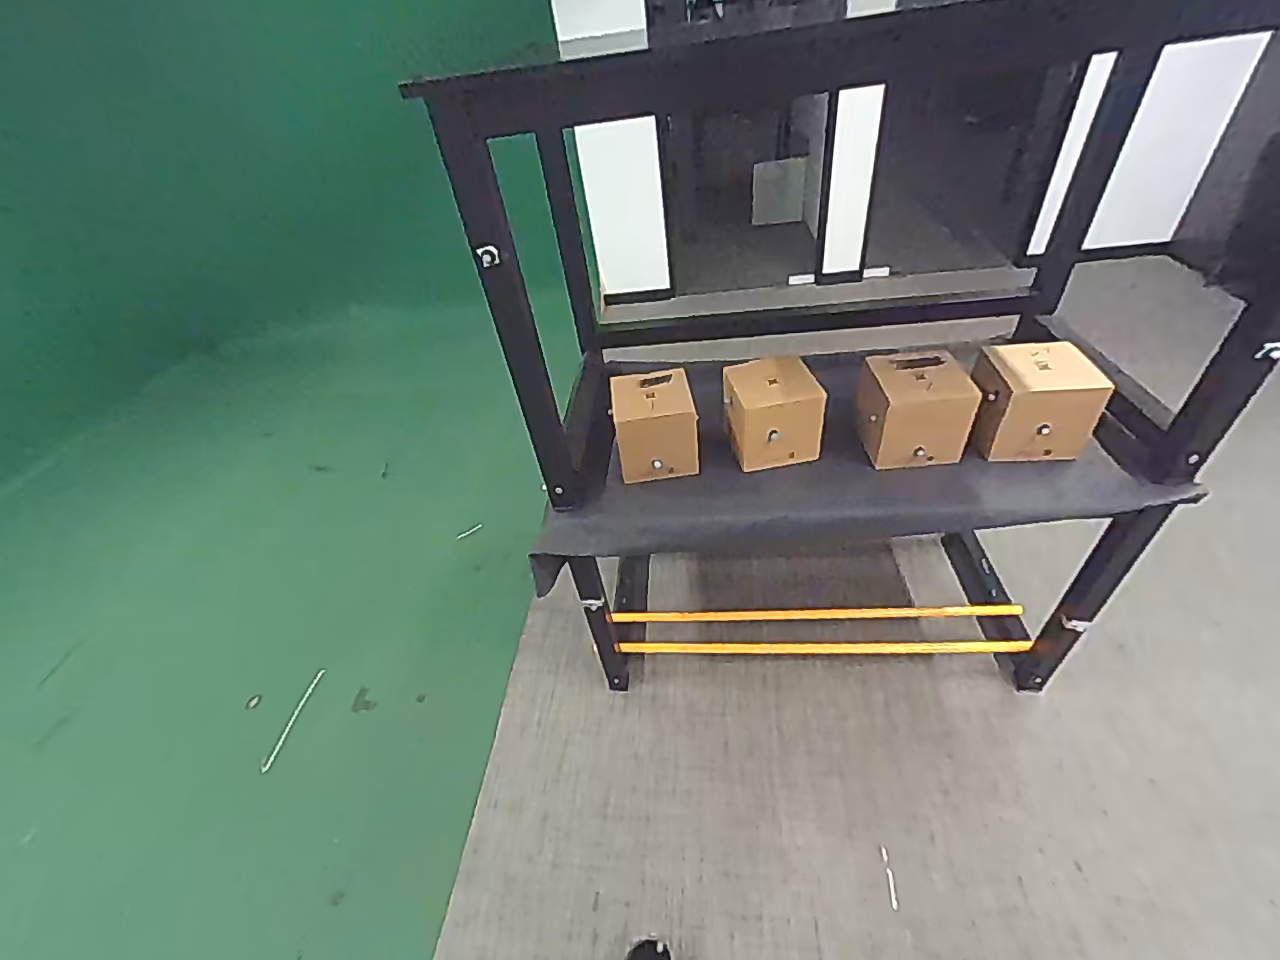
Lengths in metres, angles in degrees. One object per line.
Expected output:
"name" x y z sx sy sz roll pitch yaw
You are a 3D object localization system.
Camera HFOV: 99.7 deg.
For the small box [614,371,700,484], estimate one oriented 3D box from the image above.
"small box" 0.035 -0.114 1.181 0.168 0.176 0.179 -8 41 1
